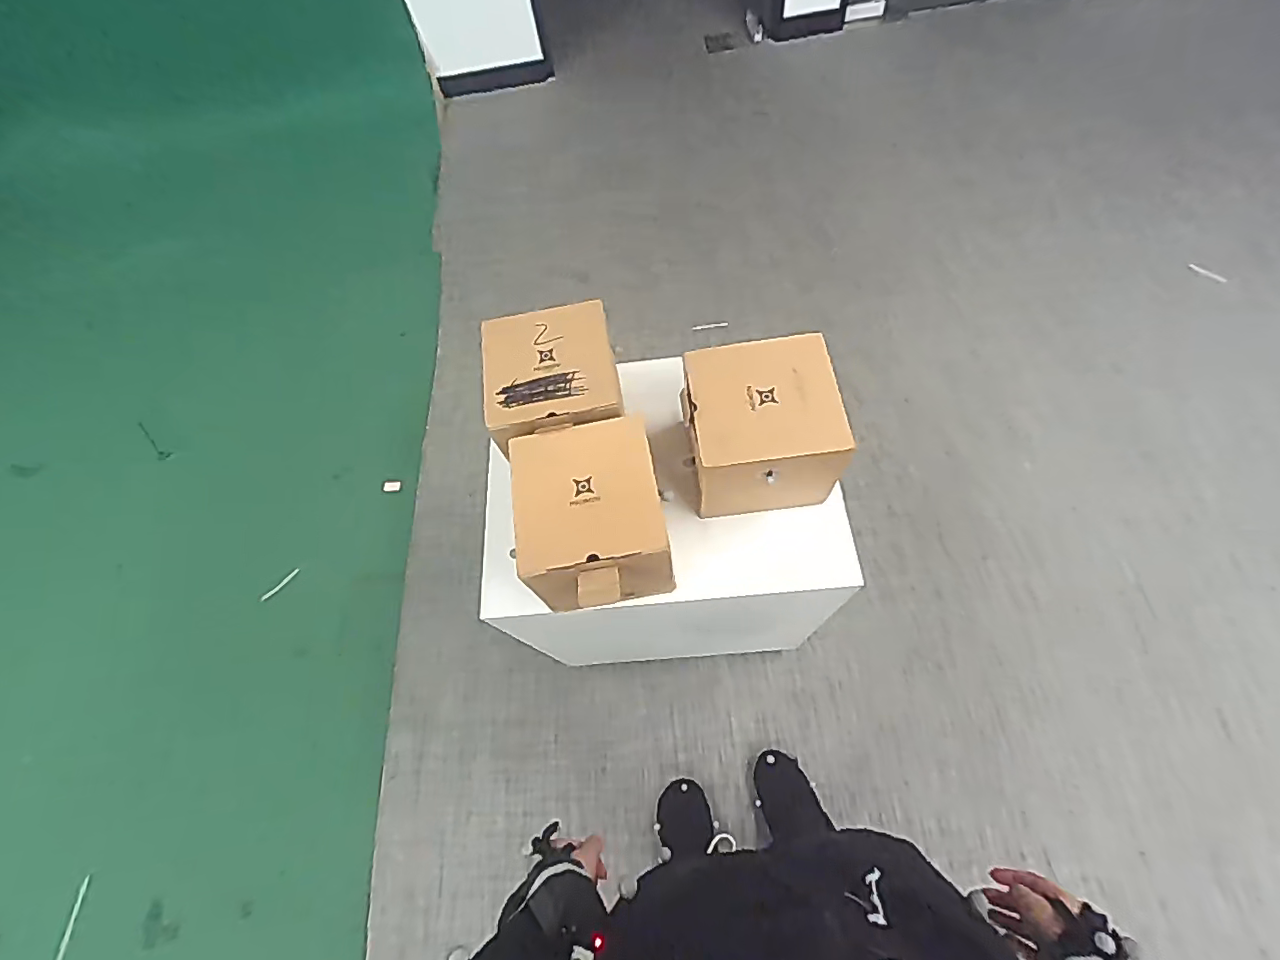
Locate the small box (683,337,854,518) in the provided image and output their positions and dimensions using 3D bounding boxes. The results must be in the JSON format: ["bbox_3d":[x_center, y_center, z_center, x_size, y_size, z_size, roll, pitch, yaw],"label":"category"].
[{"bbox_3d":[0.155,-0.059,0.708,0.179,0.176,0.168,-7,65,3],"label":"small box"}]
